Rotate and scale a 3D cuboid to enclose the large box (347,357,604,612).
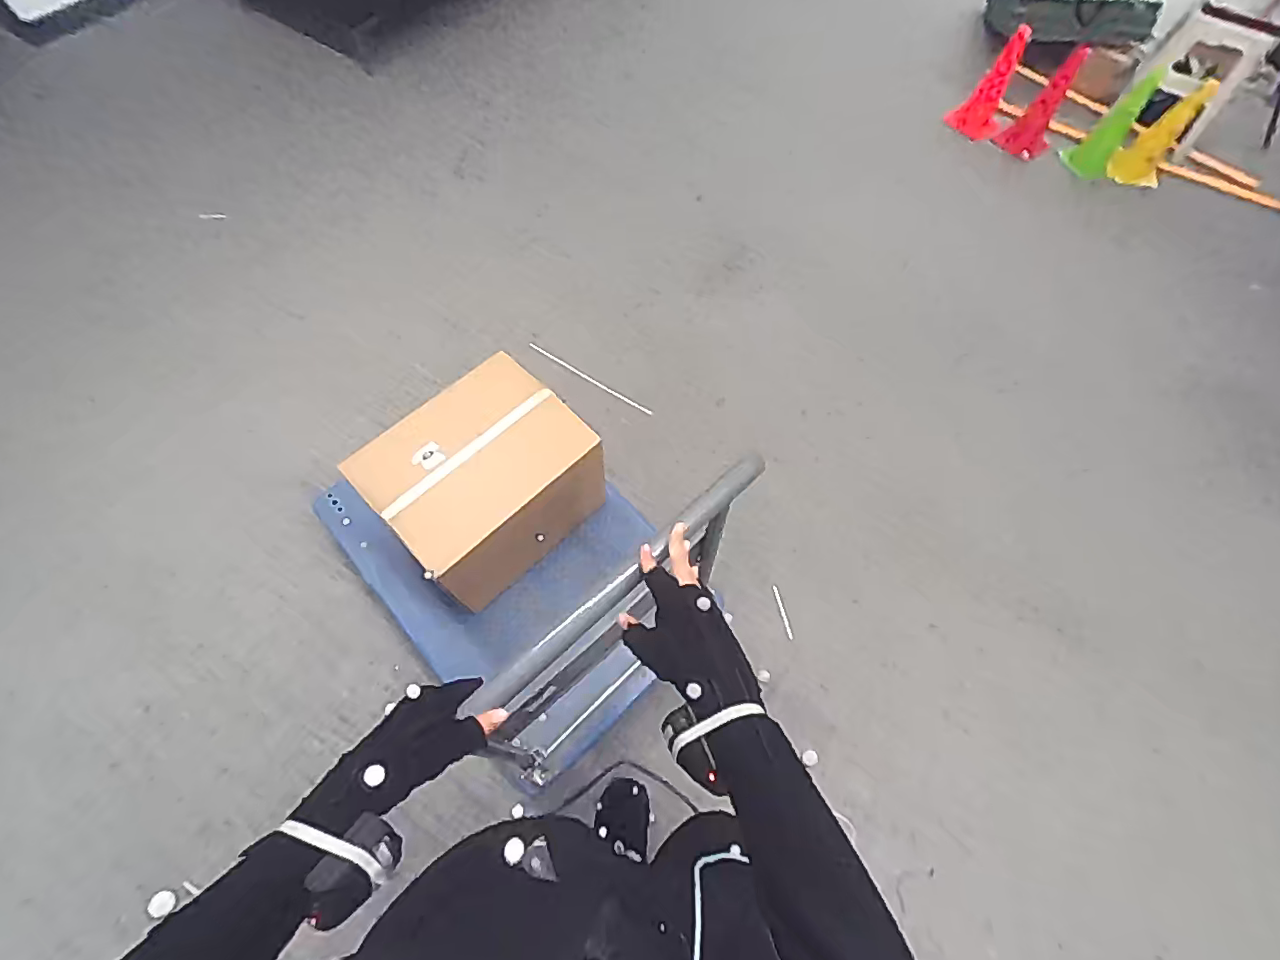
[{"bbox_3d":[-0.325,0.018,1.193,0.320,0.320,0.408,42,70,17],"label":"large box"}]
